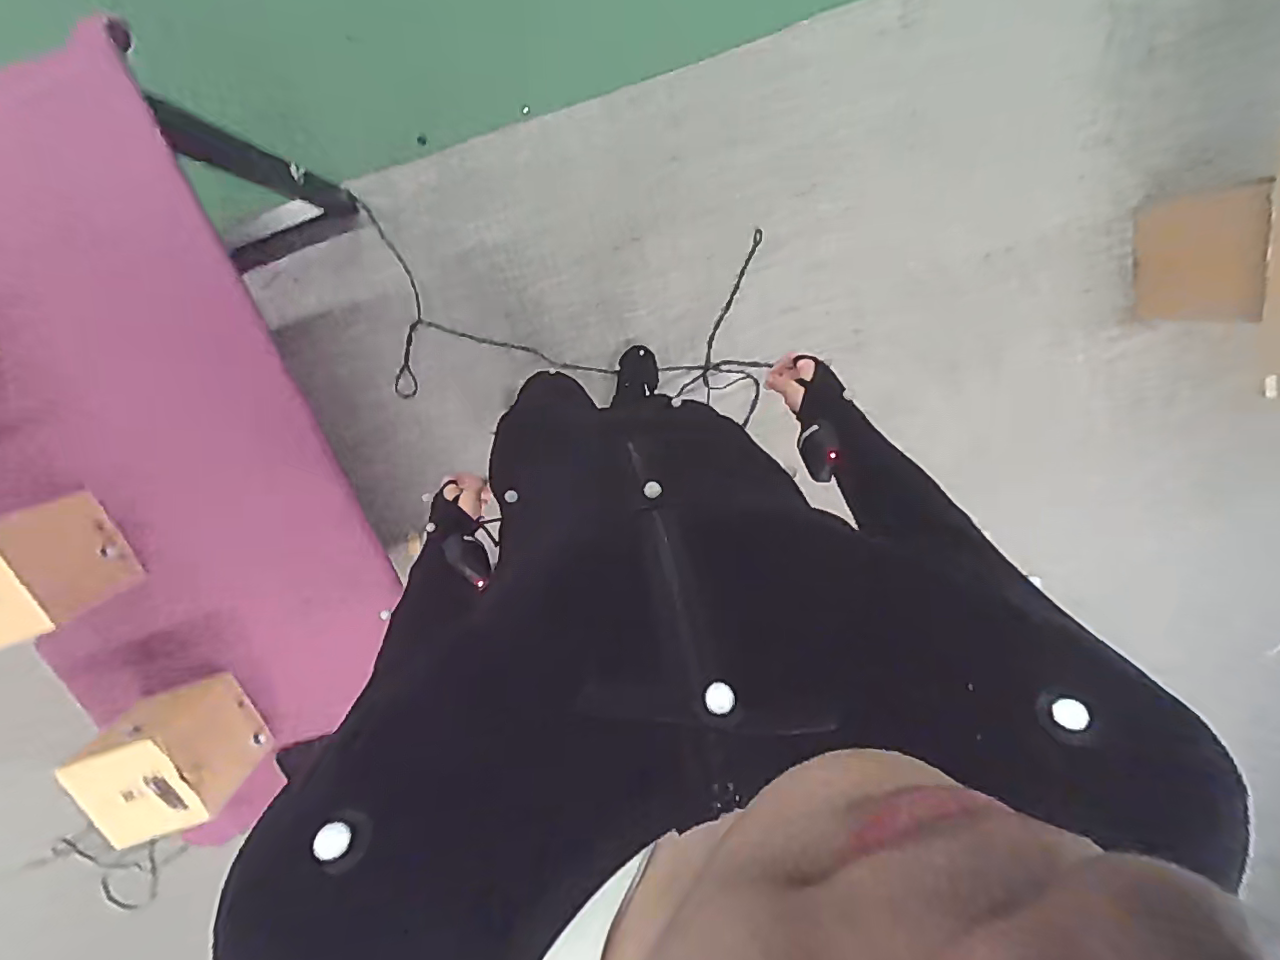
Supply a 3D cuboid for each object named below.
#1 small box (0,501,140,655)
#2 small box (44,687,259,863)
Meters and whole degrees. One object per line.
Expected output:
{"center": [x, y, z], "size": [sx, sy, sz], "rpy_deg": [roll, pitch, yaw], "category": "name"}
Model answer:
{"center": [-0.923, 0.151, 0.800], "size": [0.179, 0.176, 0.168], "rpy_deg": [-19, 106, 3], "category": "small box"}
{"center": [-0.778, 0.474, 0.892], "size": [0.179, 0.176, 0.168], "rpy_deg": [-19, 105, 4], "category": "small box"}
